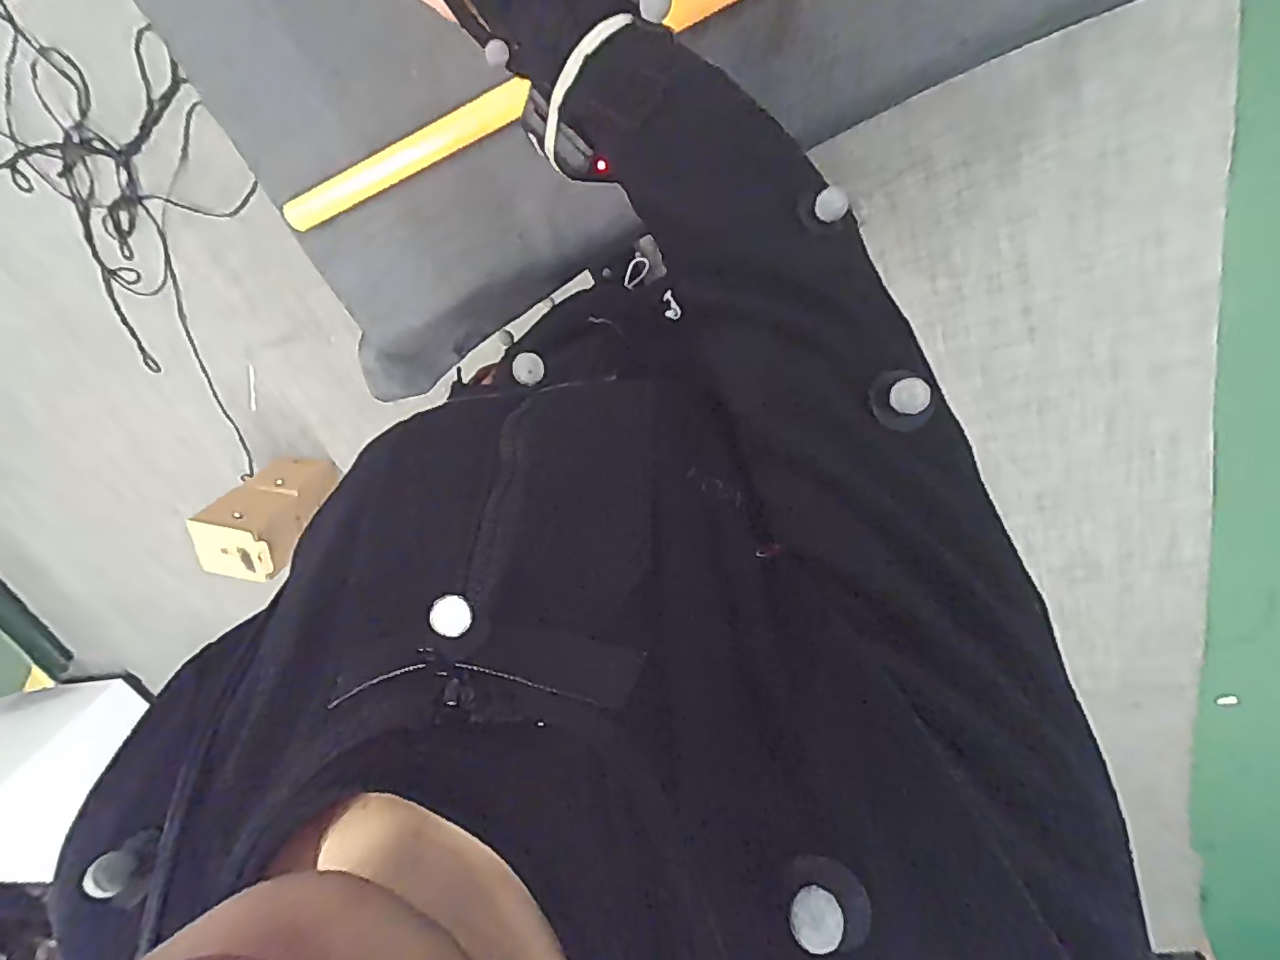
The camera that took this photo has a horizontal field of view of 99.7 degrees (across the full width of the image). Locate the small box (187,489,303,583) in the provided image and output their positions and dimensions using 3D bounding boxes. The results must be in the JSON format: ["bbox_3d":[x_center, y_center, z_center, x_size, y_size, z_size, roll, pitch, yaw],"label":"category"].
[{"bbox_3d":[-1.018,0.142,1.418,0.179,0.176,0.168,10,120,2],"label":"small box"}]

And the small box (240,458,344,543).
[{"bbox_3d":[-0.989,0.057,1.557,0.168,0.176,0.179,6,121,4],"label":"small box"}]
